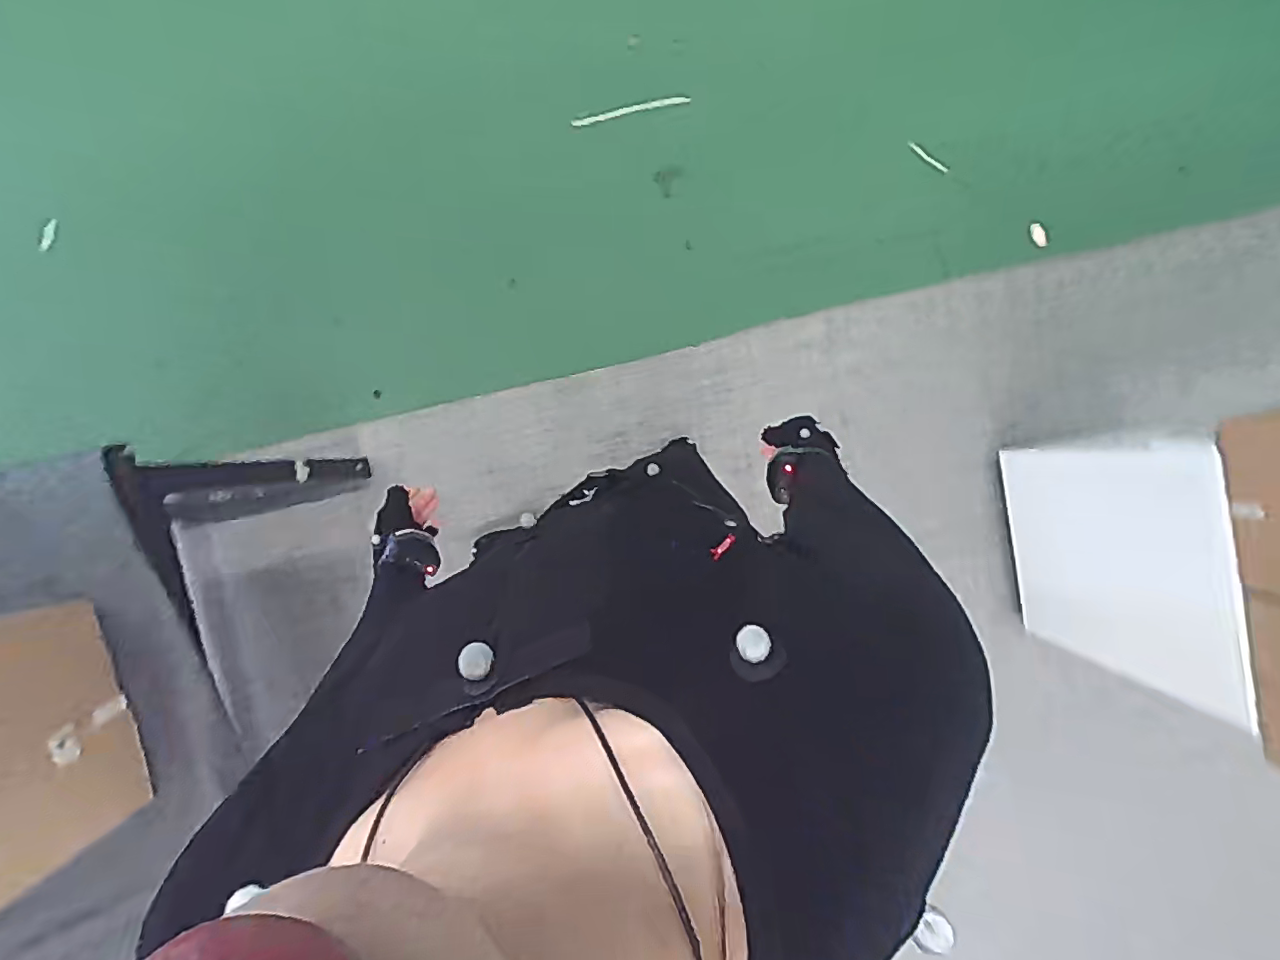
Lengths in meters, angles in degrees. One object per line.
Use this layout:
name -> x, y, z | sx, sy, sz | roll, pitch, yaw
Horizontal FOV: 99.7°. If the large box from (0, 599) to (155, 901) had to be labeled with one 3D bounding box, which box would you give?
large box -> -0.932, 0.373, 0.637 | 0.408, 0.320, 0.320 | -15, 93, 2
